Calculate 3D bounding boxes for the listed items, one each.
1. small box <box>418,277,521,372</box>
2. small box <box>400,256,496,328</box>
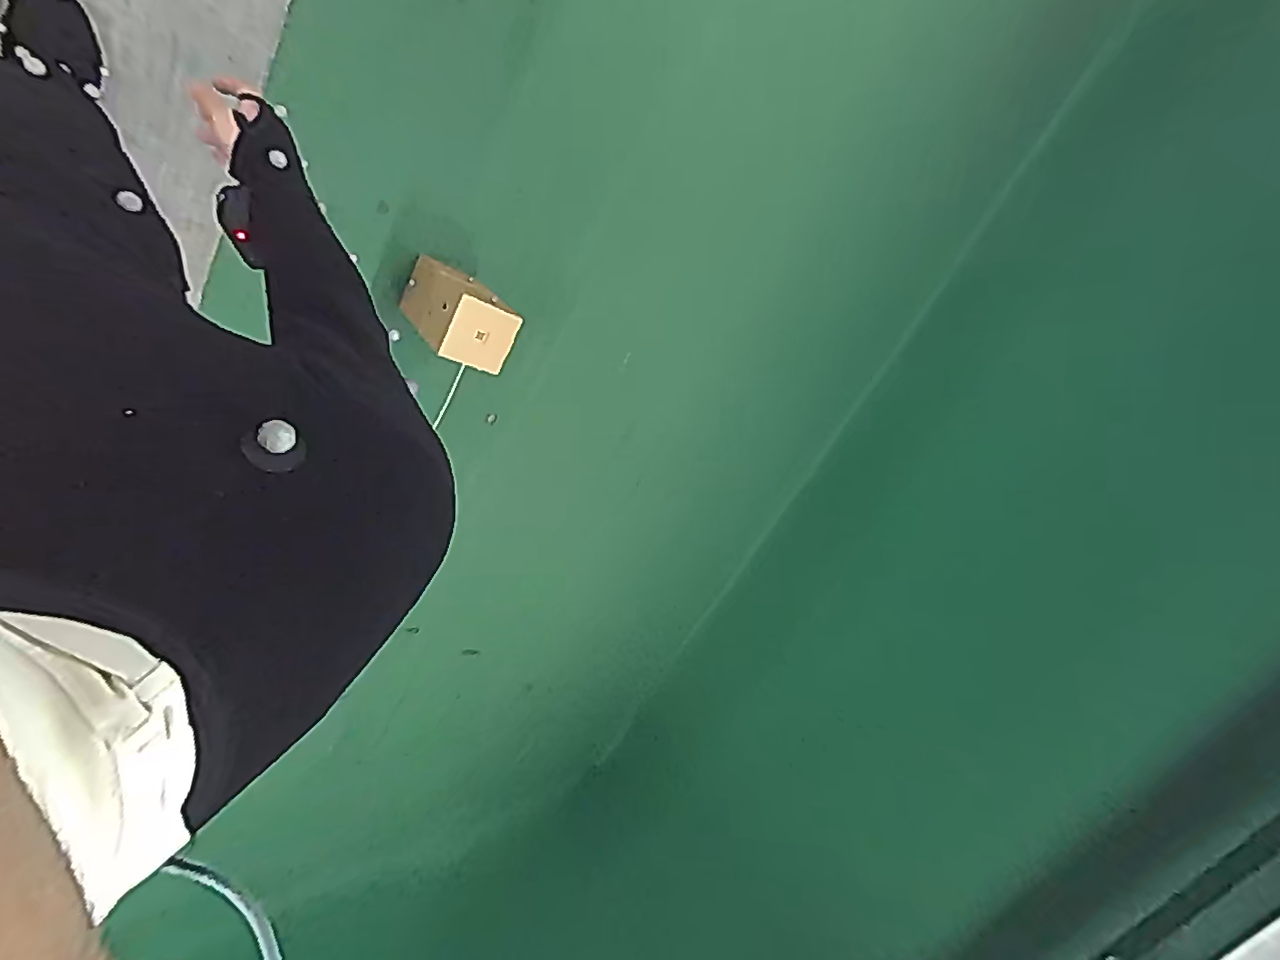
[{"bbox_3d":[-0.448,-0.408,1.407,0.179,0.176,0.168,11,115,-48],"label":"small box"},{"bbox_3d":[-0.538,-0.499,1.506,0.179,0.176,0.168,12,114,-46],"label":"small box"}]
